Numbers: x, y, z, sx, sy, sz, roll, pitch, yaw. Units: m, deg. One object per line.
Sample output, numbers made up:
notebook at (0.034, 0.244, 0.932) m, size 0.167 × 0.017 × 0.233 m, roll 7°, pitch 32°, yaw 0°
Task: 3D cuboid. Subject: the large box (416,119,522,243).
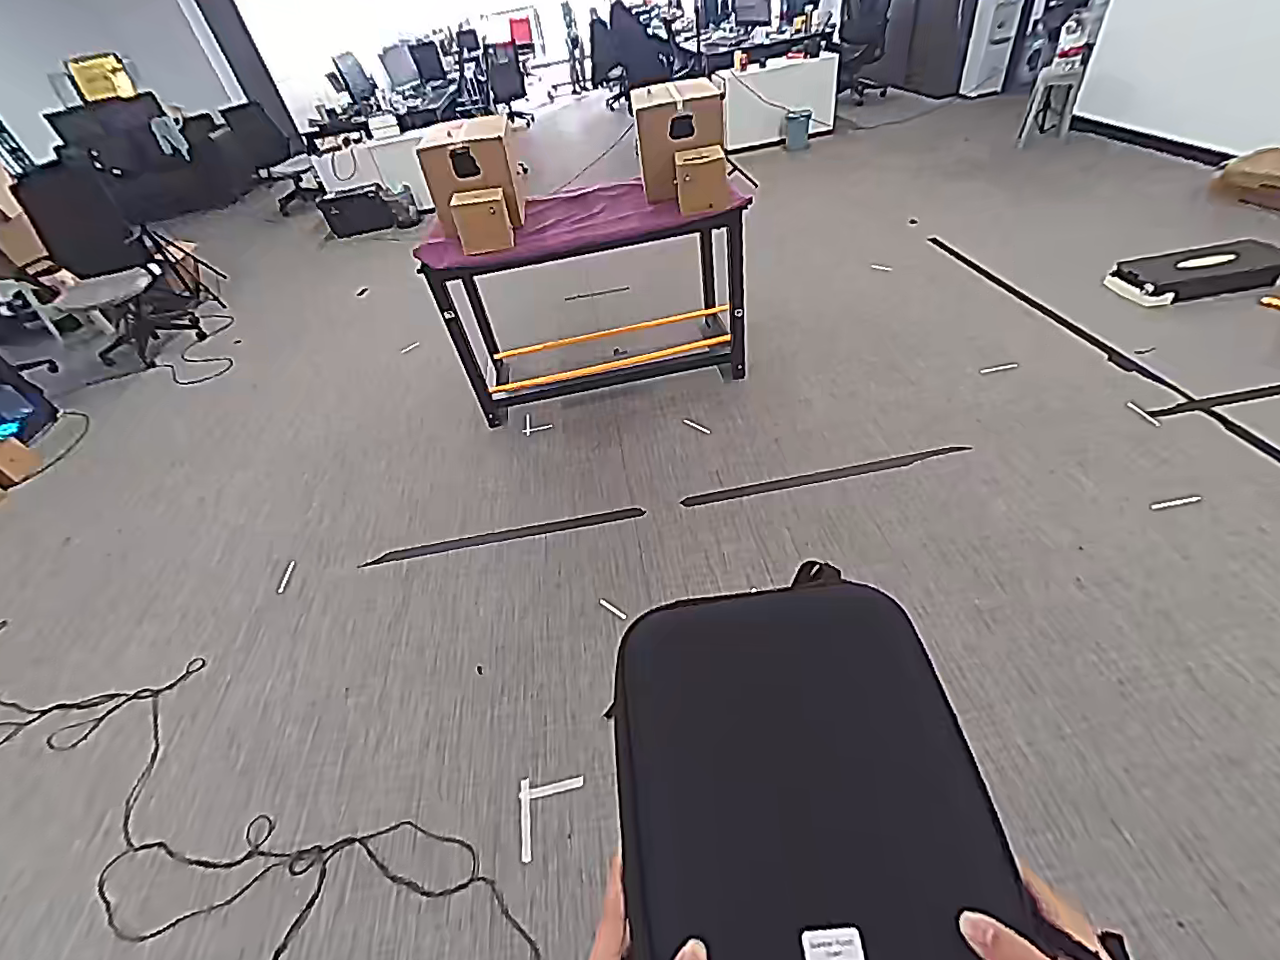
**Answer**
large box at (-0.653, -1.186, 2.138) m, size 0.320 × 0.320 × 0.408 m, roll -11°, pitch 45°, yaw -2°
